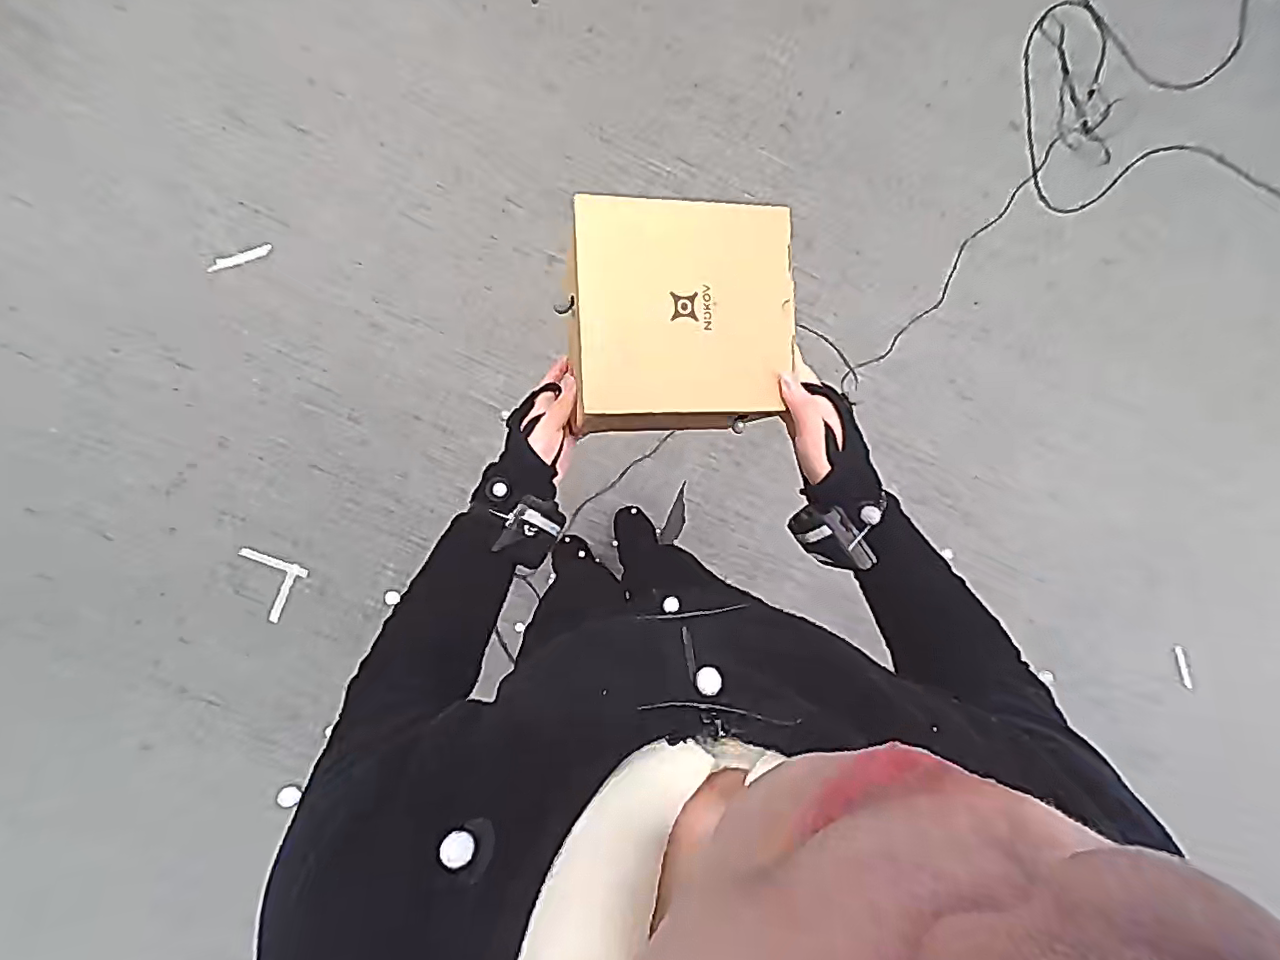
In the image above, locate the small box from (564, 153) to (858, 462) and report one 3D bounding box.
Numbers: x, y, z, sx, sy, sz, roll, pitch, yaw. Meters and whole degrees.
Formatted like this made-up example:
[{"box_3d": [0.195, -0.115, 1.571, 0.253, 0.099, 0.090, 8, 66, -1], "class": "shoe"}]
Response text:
[{"box_3d": [0.051, -0.127, 0.456, 0.168, 0.176, 0.179, -3, 73, -29], "class": "small box"}]
